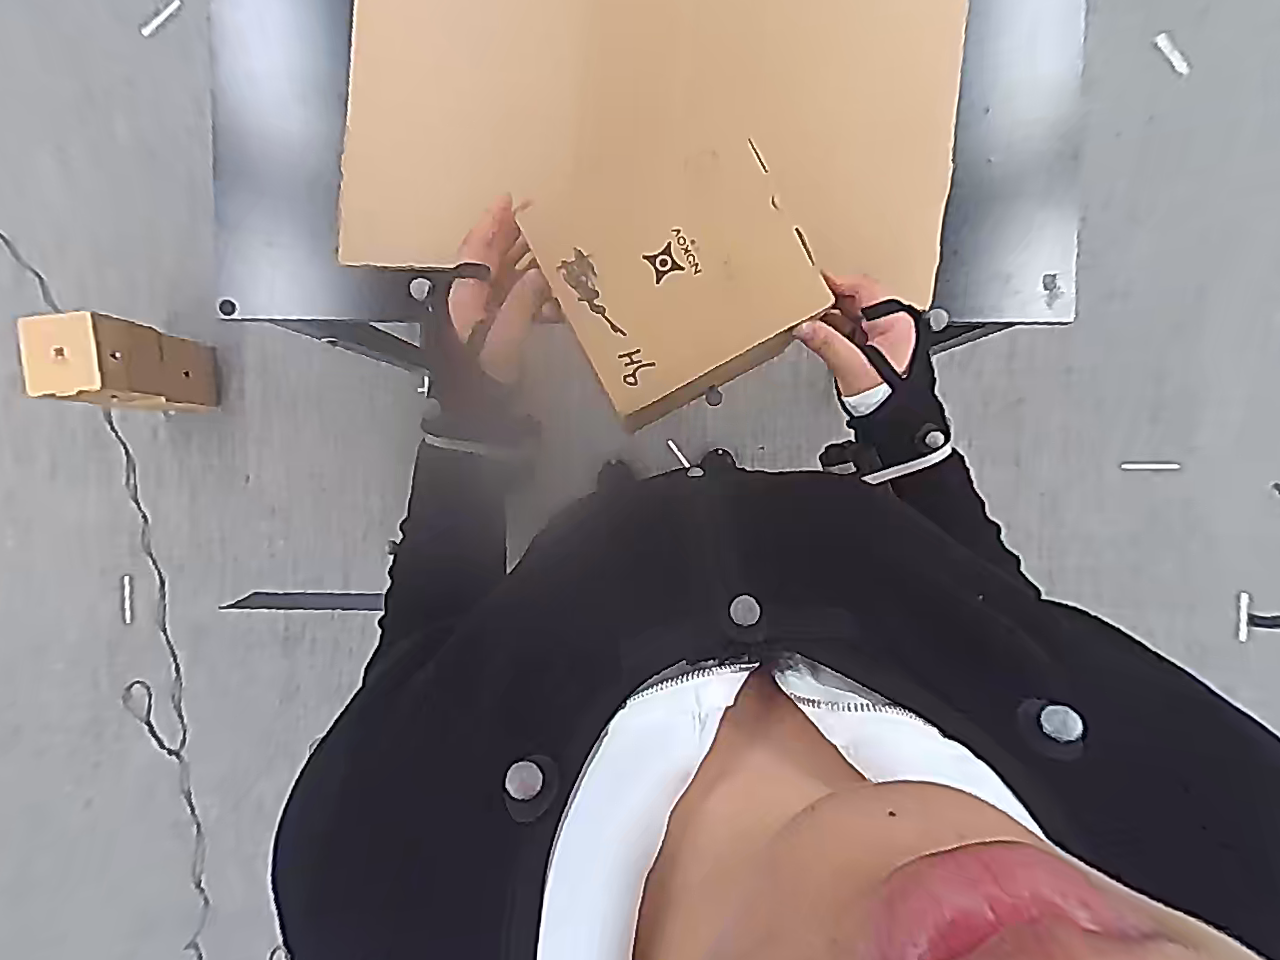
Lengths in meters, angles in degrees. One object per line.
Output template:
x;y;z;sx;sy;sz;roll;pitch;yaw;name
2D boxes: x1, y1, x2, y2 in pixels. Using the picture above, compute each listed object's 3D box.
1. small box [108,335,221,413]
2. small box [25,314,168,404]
-1.260;-0.275;1.433;0.168;0.176;0.179;-4;93;1;small box
-1.263;-0.275;1.270;0.168;0.176;0.179;-6;91;1;small box
